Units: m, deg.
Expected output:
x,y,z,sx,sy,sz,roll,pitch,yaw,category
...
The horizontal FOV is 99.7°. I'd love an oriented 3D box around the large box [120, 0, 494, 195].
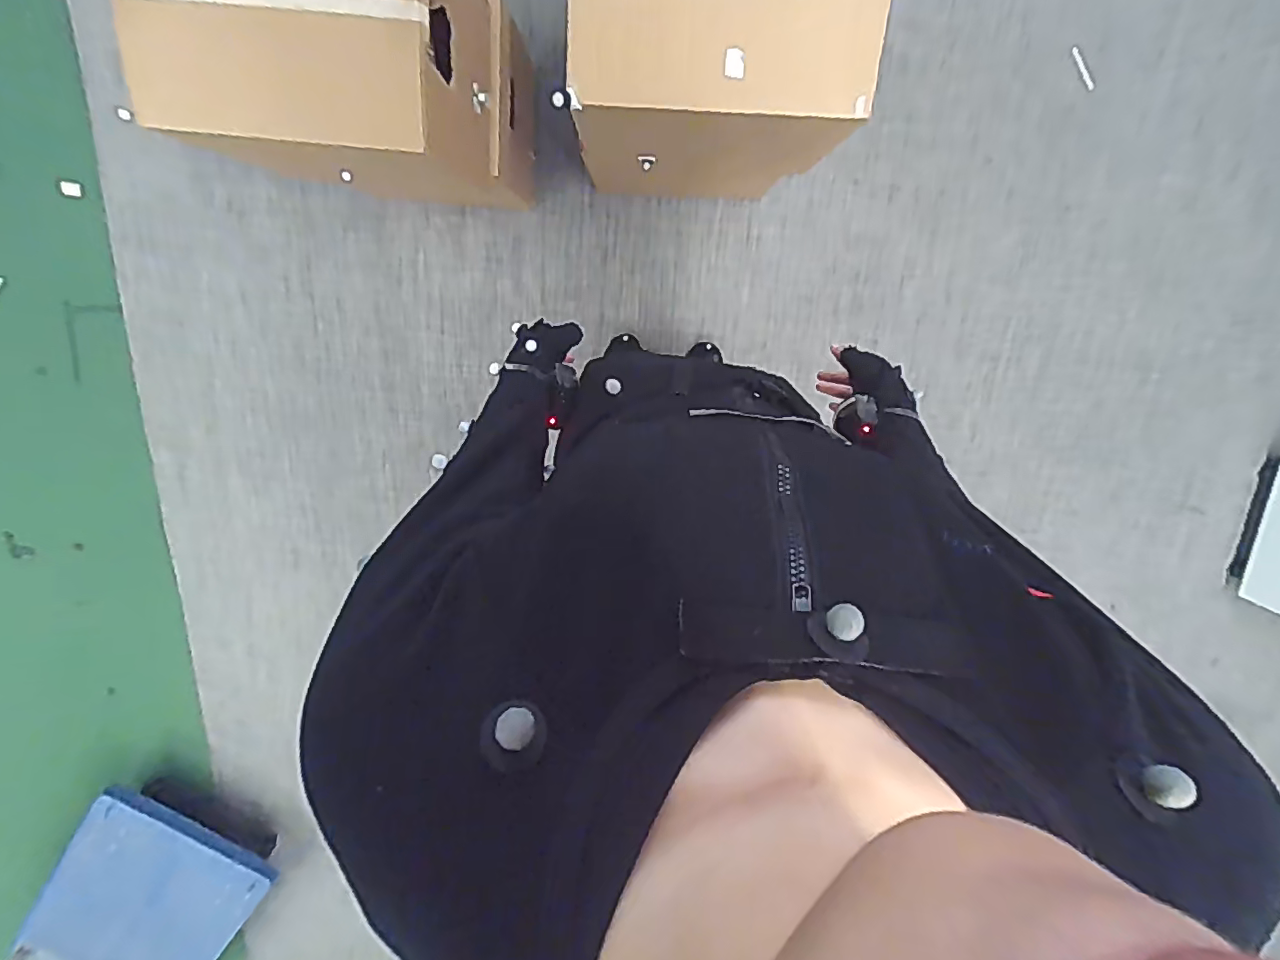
x,y,z,sx,sy,sz,roll,pitch,yaw,category
-0.467,-0.649,0.839,0.408,0.320,0.320,6,107,1,large box
